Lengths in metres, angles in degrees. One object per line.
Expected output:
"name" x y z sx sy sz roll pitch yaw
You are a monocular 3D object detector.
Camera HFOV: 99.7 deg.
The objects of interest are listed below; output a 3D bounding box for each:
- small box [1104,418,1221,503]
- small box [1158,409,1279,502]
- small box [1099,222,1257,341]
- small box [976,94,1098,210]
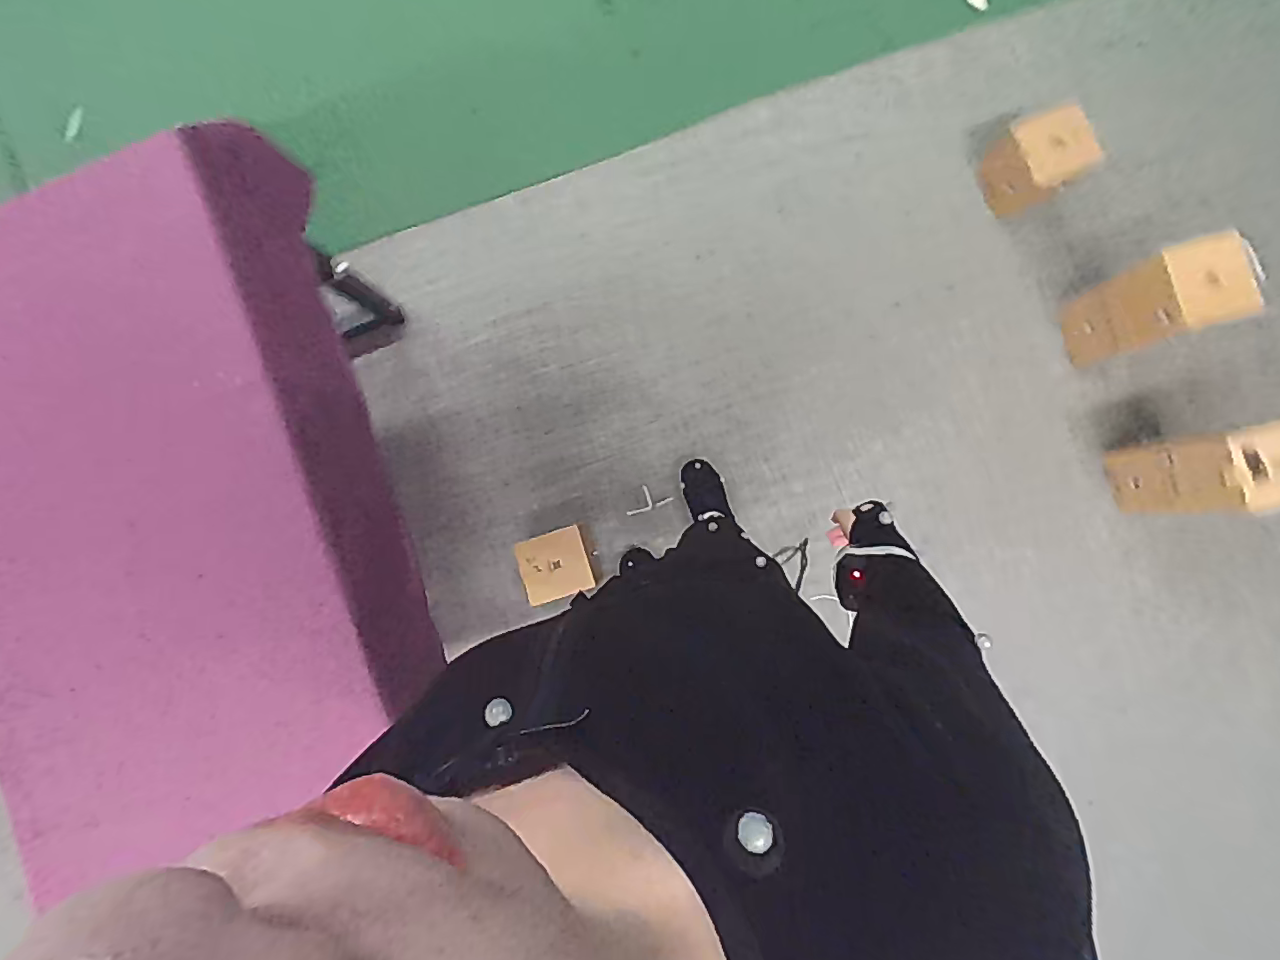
"small box" 1.319 -0.042 1.354 0.179 0.176 0.168 -17 87 3
"small box" 1.304 -0.048 1.190 0.179 0.176 0.168 -15 87 2
"small box" 1.190 -0.437 1.214 0.168 0.176 0.179 -15 87 2
"small box" 1.014 -0.841 1.405 0.179 0.176 0.168 -21 87 2
